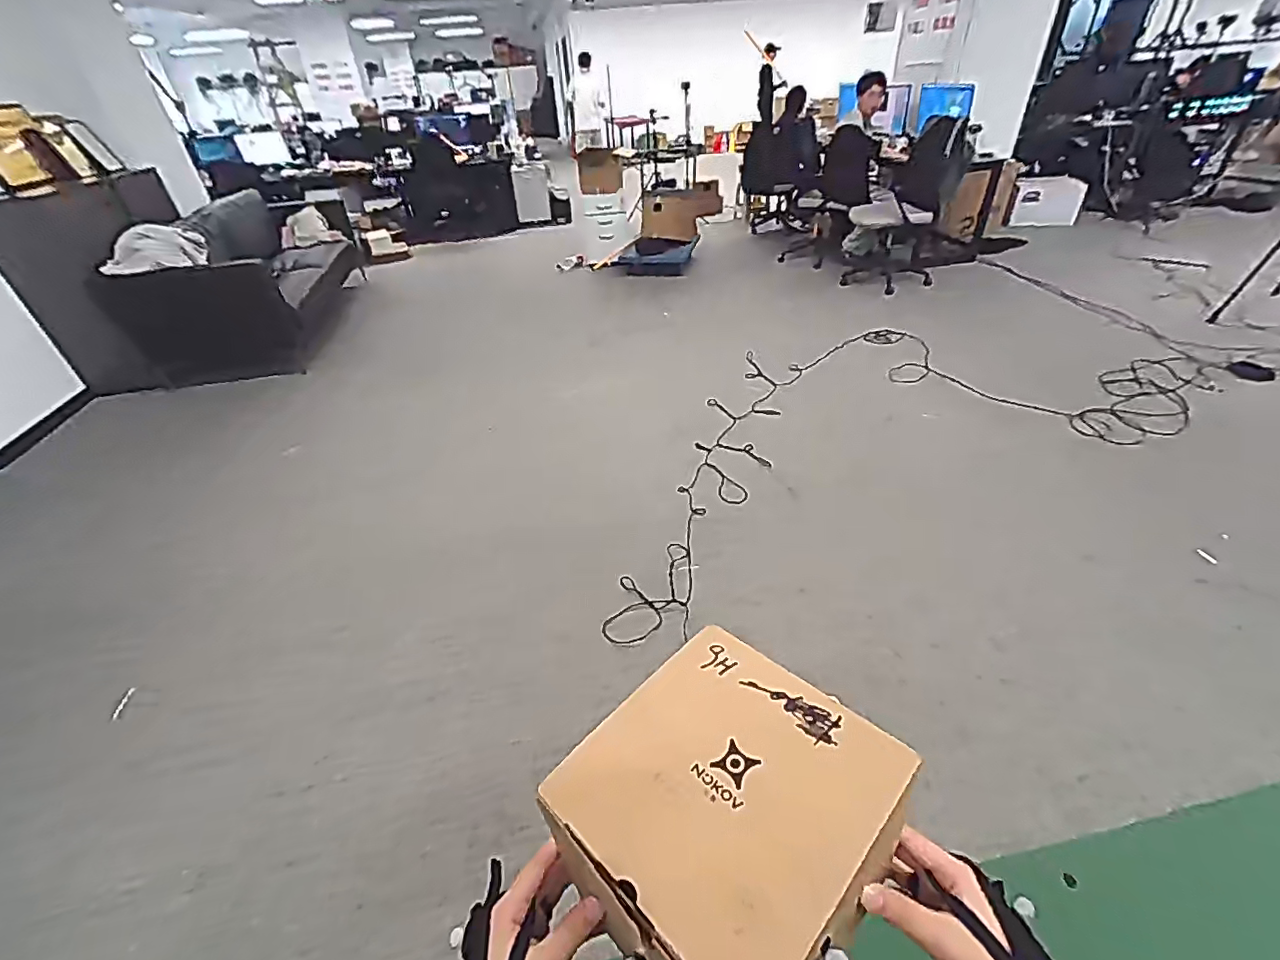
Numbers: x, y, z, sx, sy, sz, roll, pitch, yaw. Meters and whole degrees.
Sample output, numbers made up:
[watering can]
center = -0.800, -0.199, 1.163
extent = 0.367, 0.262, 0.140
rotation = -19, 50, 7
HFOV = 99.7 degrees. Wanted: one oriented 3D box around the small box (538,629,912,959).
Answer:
[small box]
center = 0.062, 0.250, 0.377
extent = 0.179, 0.176, 0.168
rotation = -34, 41, -32
